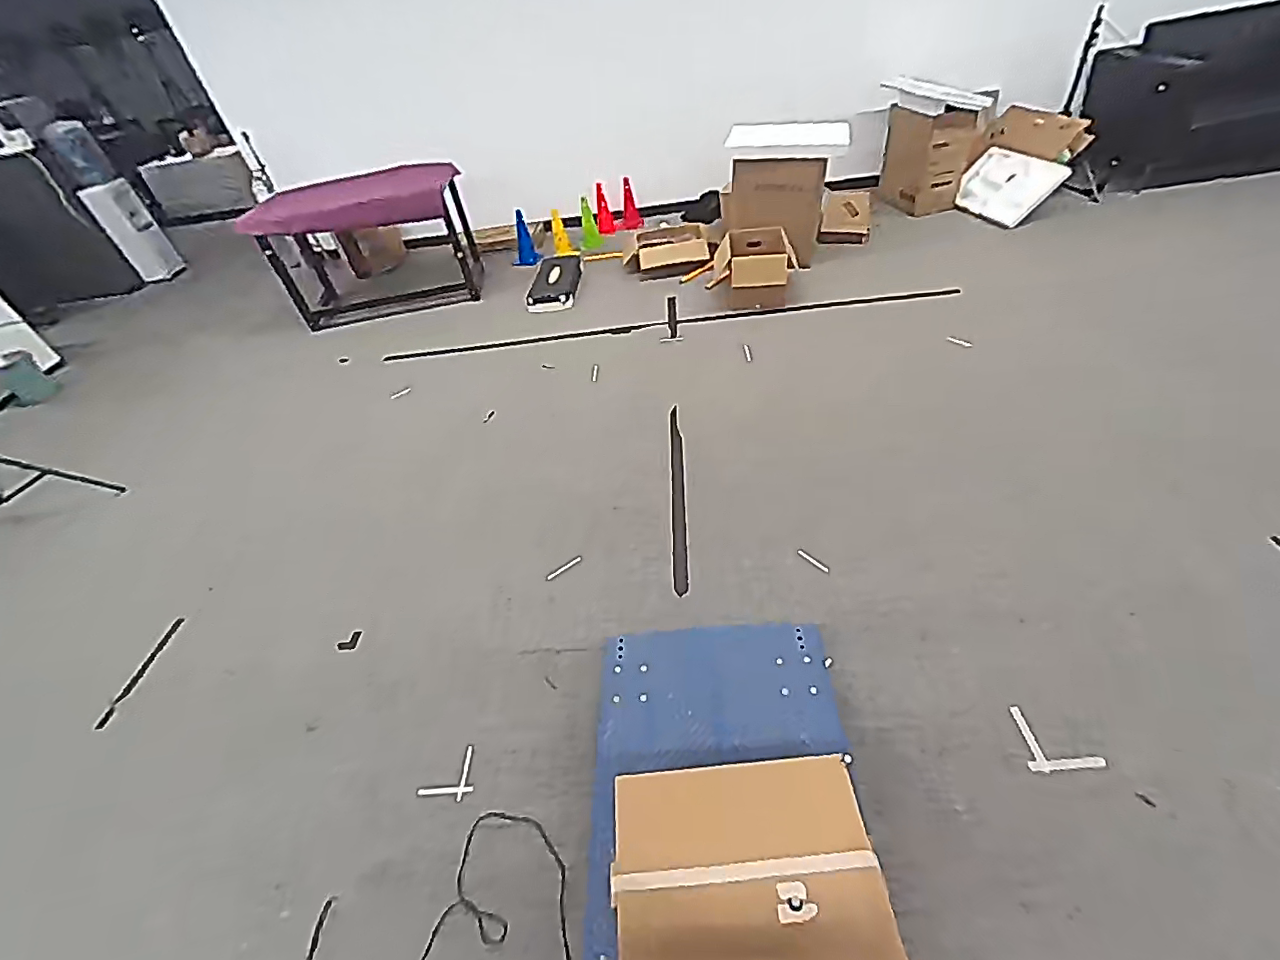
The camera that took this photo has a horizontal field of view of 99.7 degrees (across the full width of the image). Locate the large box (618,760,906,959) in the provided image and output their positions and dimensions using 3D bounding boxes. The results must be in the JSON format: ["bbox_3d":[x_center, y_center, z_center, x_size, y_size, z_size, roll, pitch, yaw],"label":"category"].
[{"bbox_3d":[0.181,0.729,0.940,0.408,0.320,0.320,-7,43,2],"label":"large box"}]
